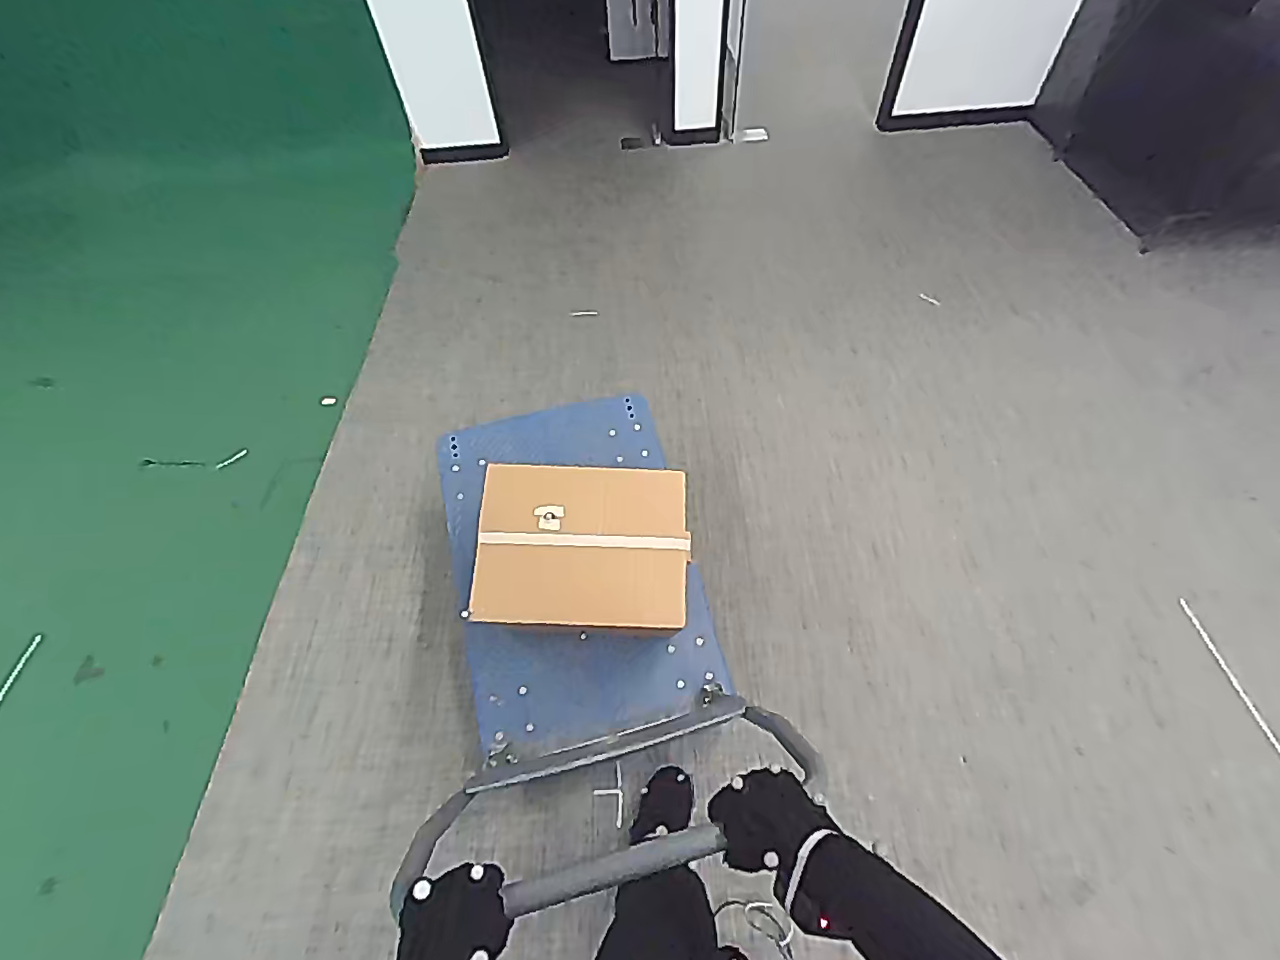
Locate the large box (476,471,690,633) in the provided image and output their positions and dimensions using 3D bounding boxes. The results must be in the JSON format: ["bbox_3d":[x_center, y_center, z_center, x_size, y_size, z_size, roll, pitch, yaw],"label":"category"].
[{"bbox_3d":[-0.104,0.174,1.188,0.408,0.320,0.320,1,71,0],"label":"large box"}]
